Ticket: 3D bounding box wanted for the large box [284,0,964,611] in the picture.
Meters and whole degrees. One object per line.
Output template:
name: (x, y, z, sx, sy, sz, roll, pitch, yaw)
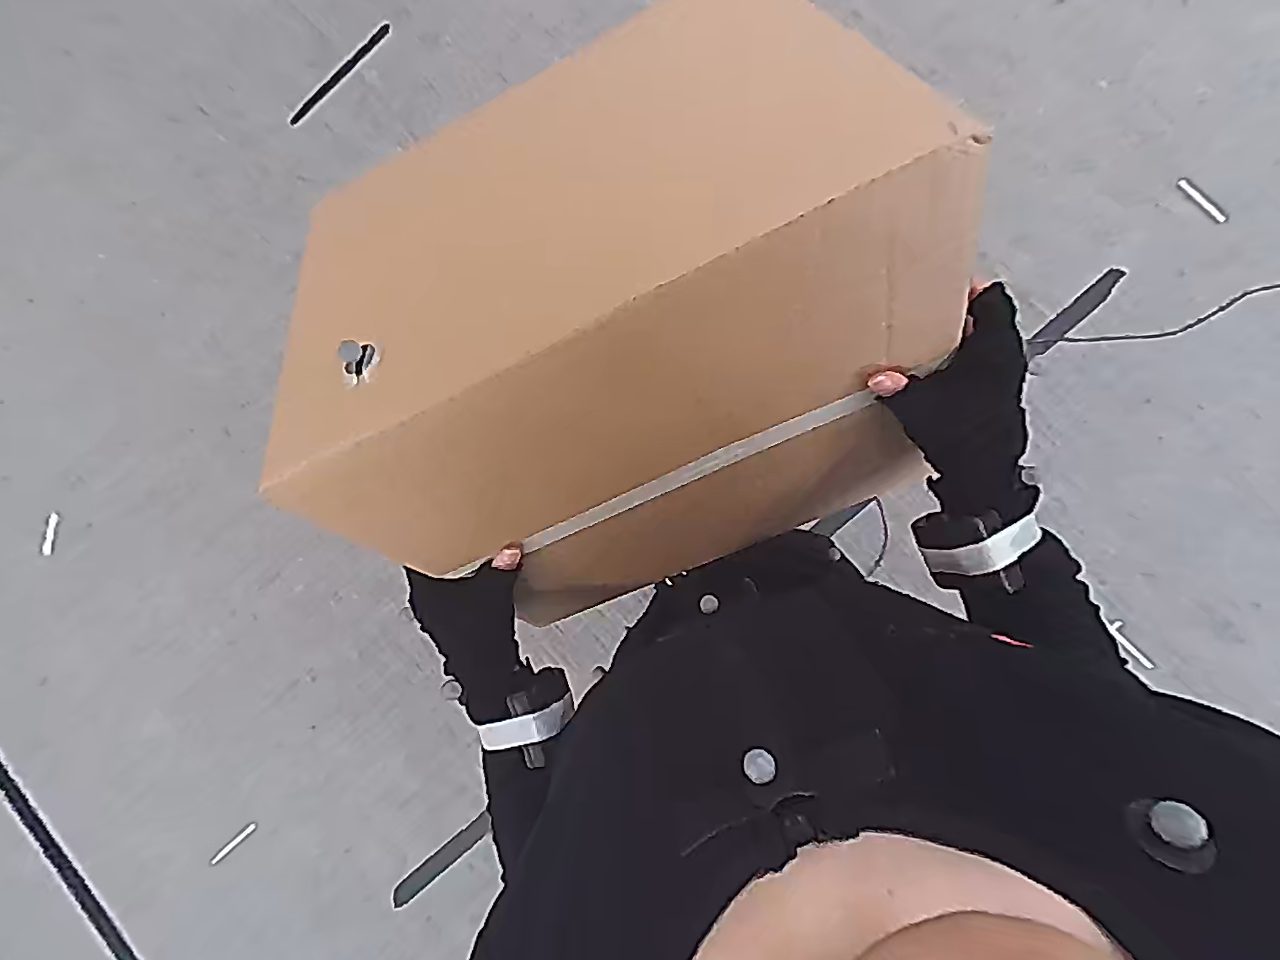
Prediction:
large box: (-0.015, -0.132, 0.482, 0.408, 0.320, 0.320, -23, 56, 9)
